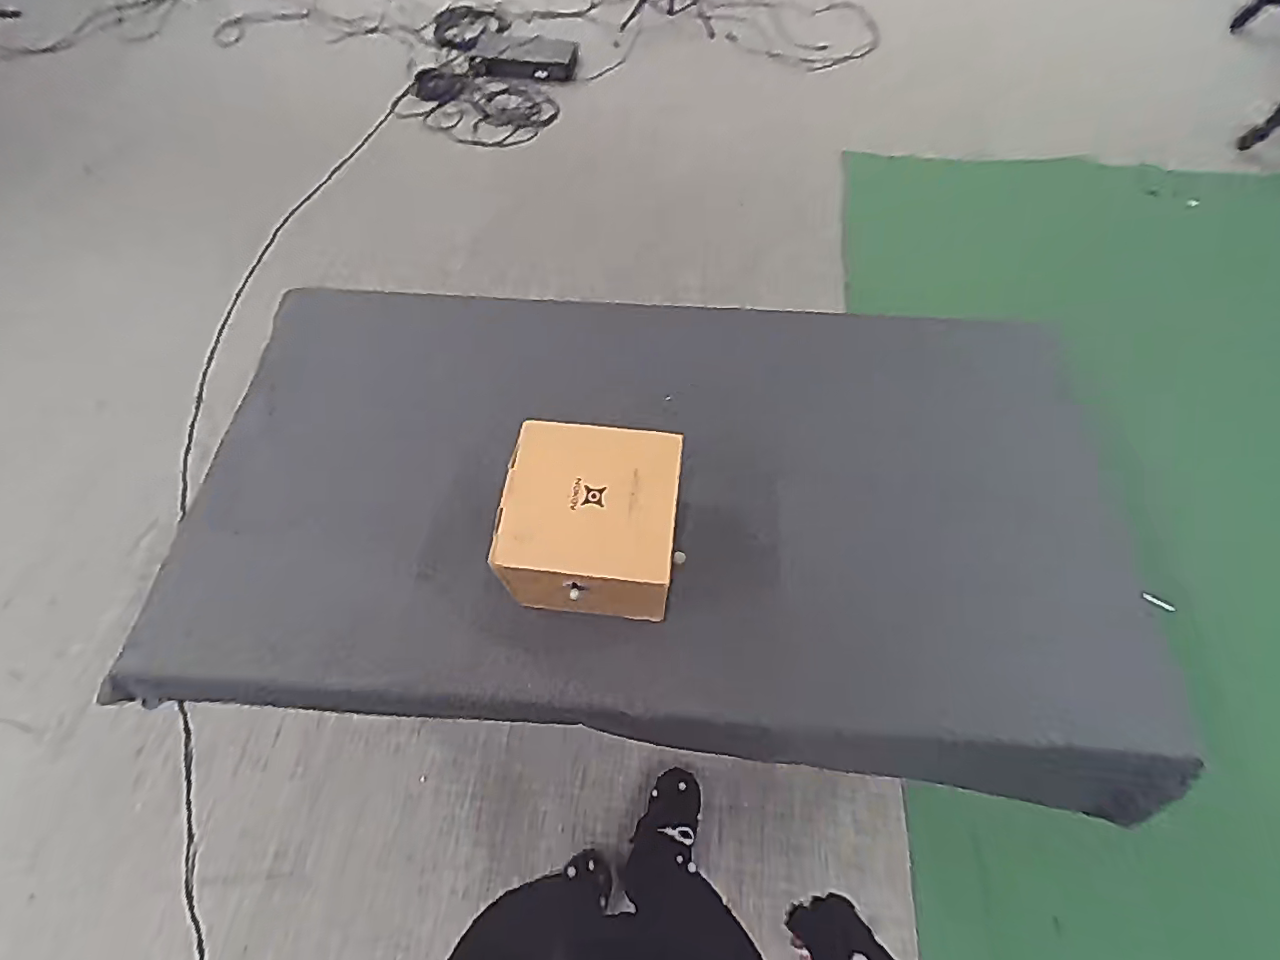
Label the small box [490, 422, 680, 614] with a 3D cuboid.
[{"bbox_3d":[-0.049,0.050,0.619,0.179,0.176,0.168,4,65,3],"label":"small box"}]
